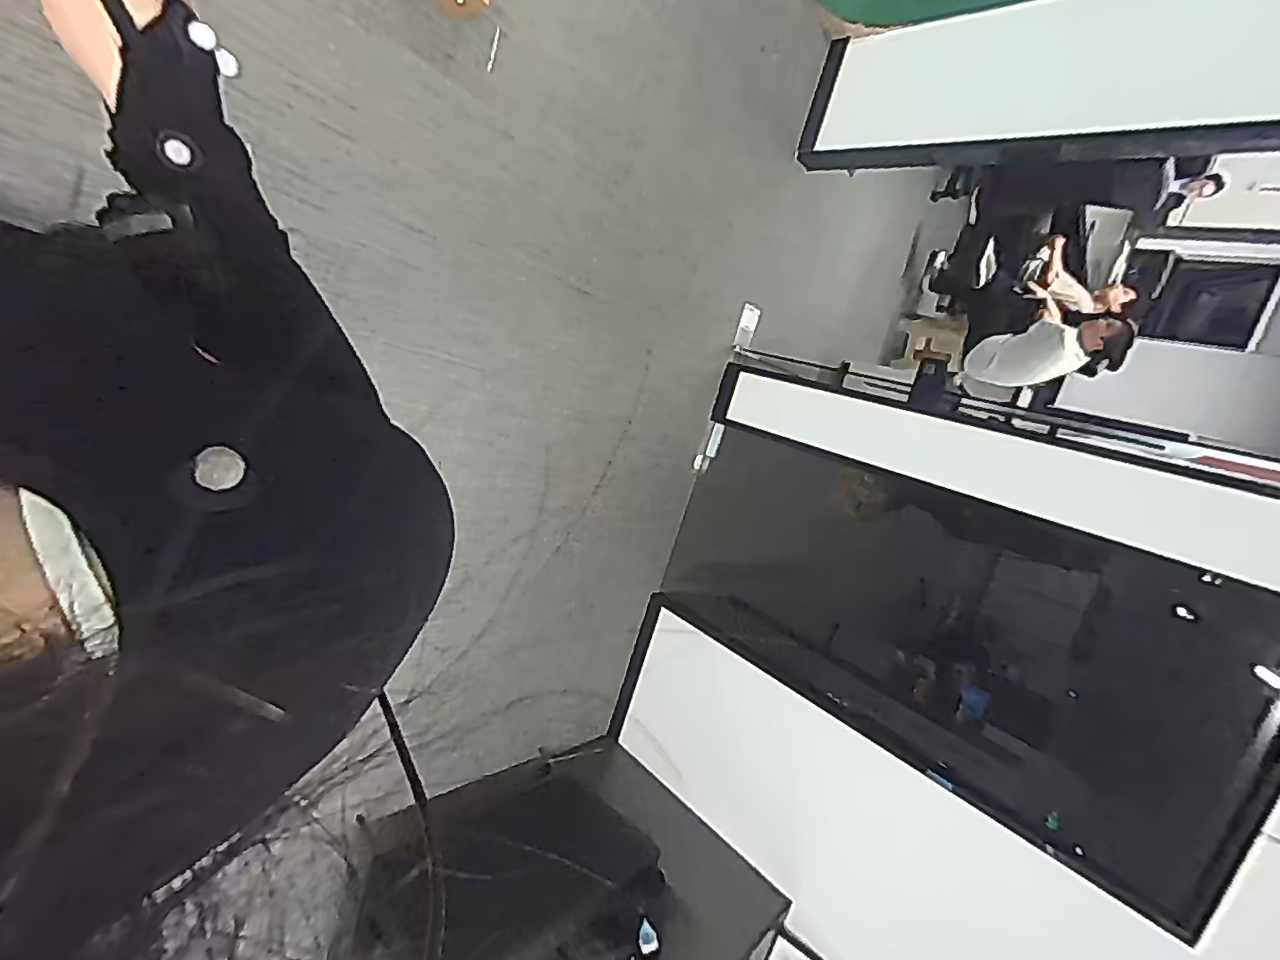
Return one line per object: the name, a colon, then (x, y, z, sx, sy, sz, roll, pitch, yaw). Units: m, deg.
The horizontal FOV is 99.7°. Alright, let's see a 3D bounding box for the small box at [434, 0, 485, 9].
small box: (-0.419, -1.164, 1.159, 0.179, 0.176, 0.168, 15, 98, -51)
